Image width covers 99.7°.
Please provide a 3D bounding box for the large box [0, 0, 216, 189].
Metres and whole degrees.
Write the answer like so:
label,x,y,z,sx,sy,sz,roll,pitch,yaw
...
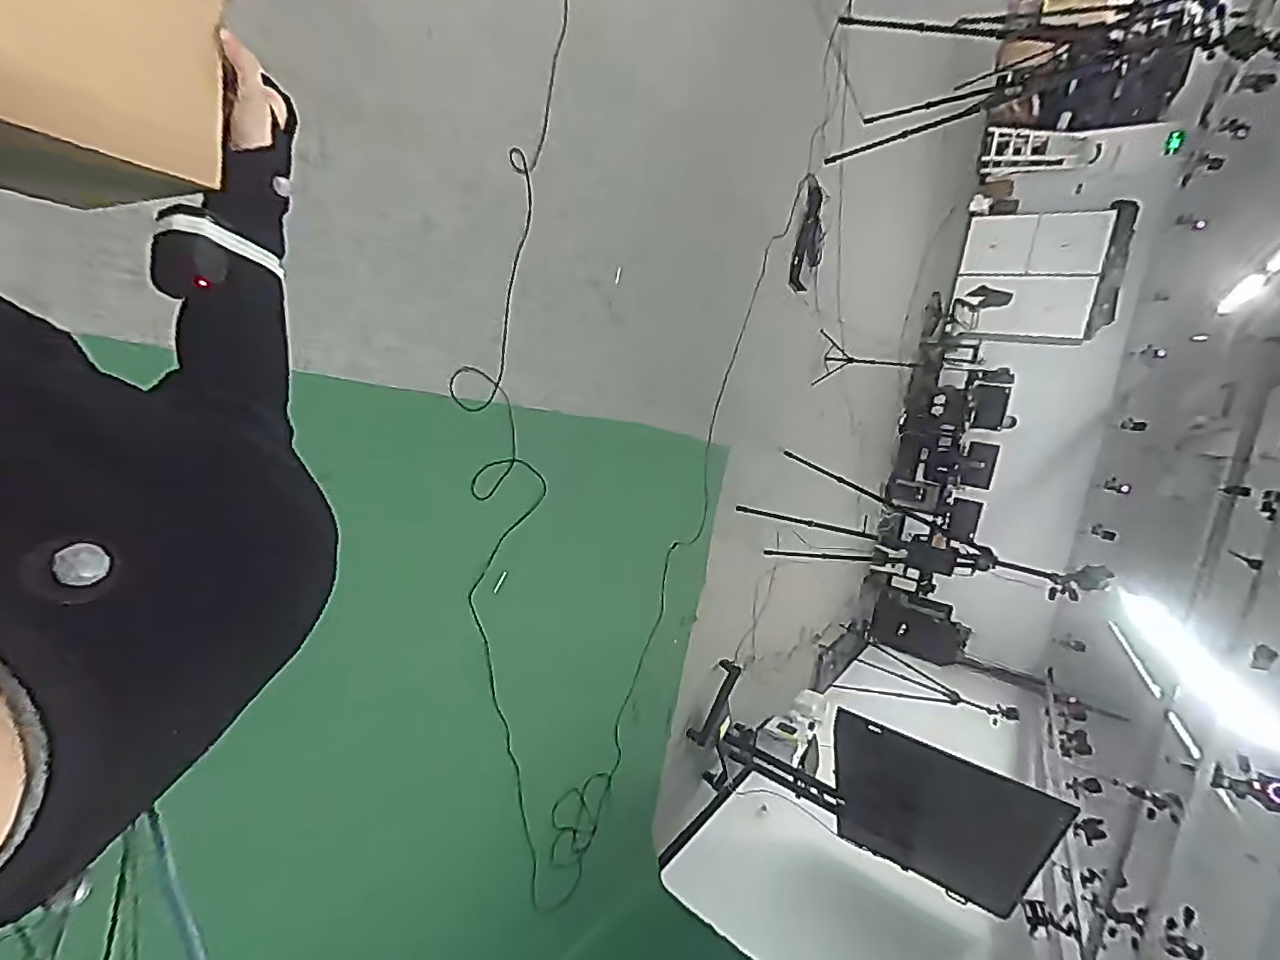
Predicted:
label,x,y,z,sx,sy,sz,roll,pitch,yaw
large box,-0.566,-0.414,0.335,0.408,0.320,0.320,-10,109,-58
